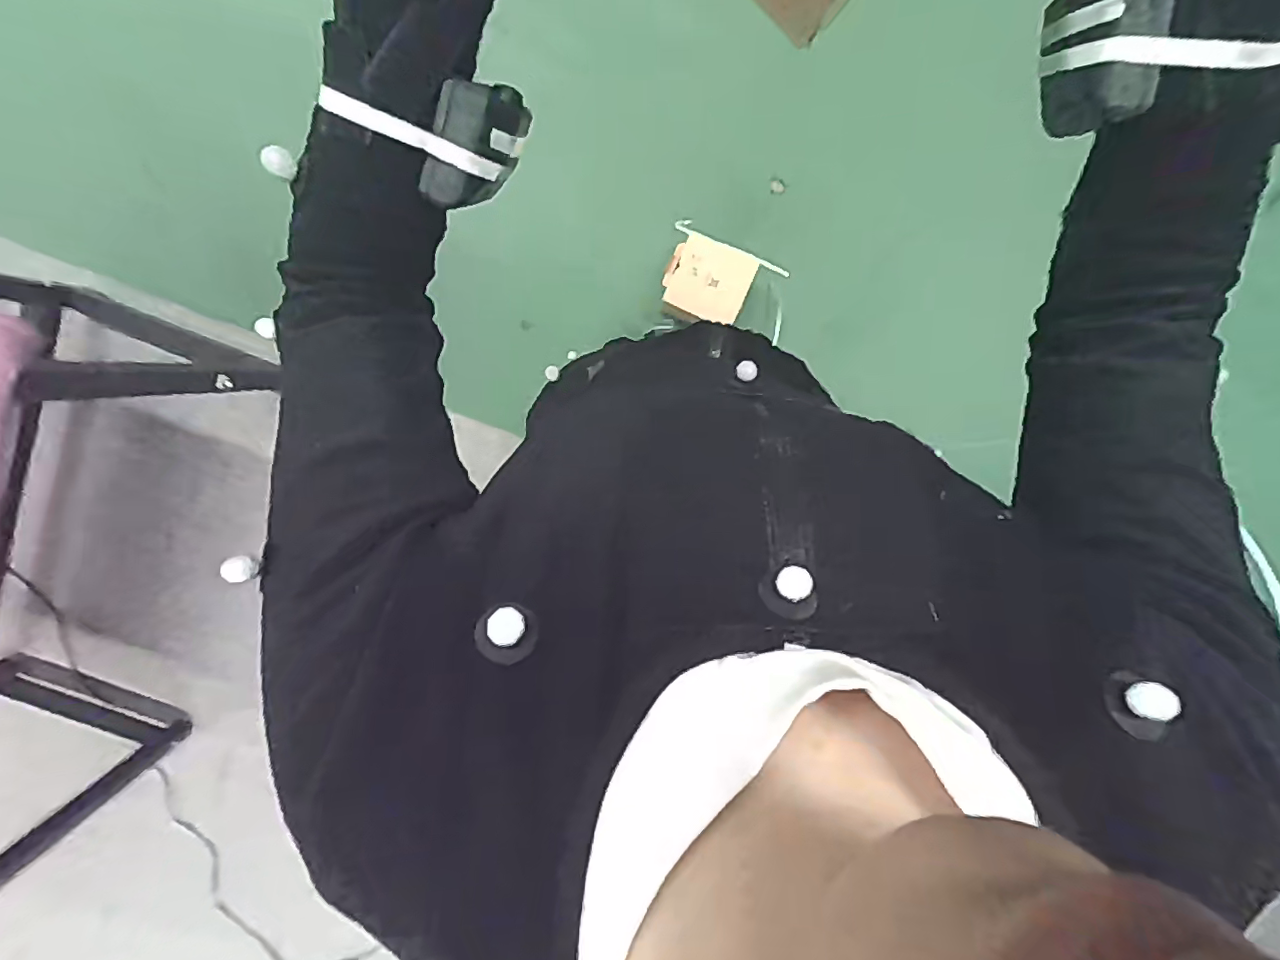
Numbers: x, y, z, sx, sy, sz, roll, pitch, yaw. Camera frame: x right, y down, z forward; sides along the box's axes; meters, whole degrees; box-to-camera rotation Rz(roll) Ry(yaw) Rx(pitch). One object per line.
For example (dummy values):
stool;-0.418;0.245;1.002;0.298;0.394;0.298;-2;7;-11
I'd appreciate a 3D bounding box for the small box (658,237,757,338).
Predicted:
small box;0.155;-0.455;1.308;0.179;0.176;0.168;23;99;-5
